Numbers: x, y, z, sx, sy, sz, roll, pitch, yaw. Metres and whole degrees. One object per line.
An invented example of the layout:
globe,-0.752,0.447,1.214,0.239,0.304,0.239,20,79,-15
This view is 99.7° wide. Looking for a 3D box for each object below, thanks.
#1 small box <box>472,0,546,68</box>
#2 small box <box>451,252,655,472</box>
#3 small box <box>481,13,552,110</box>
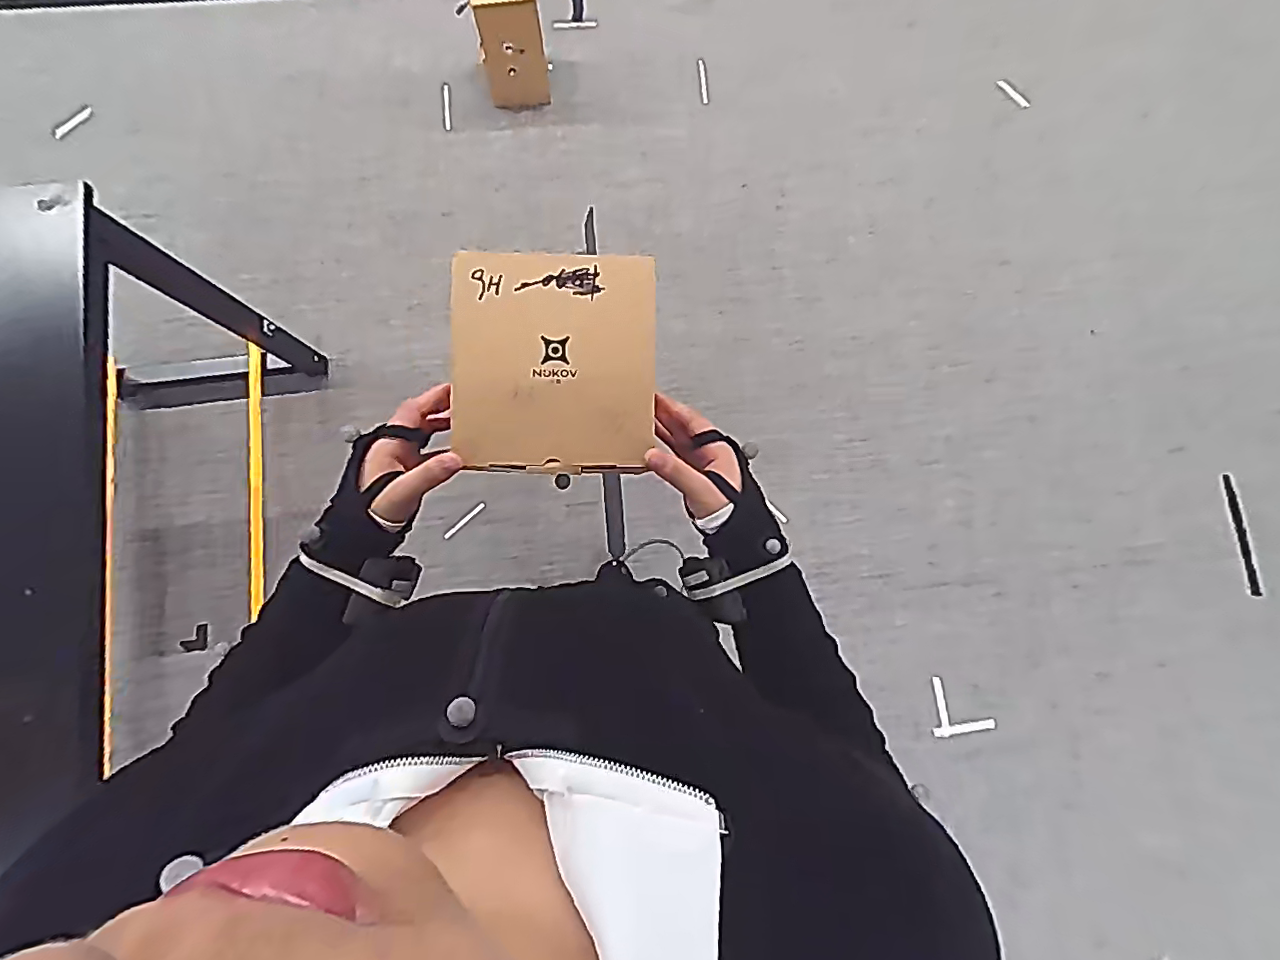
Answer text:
small box,-0.352,-1.255,1.441,0.168,0.176,0.179,-10,84,-2
small box,-0.073,-0.097,0.519,0.168,0.176,0.179,0,91,-3
small box,-0.363,-1.236,1.602,0.179,0.176,0.168,-7,83,-4
